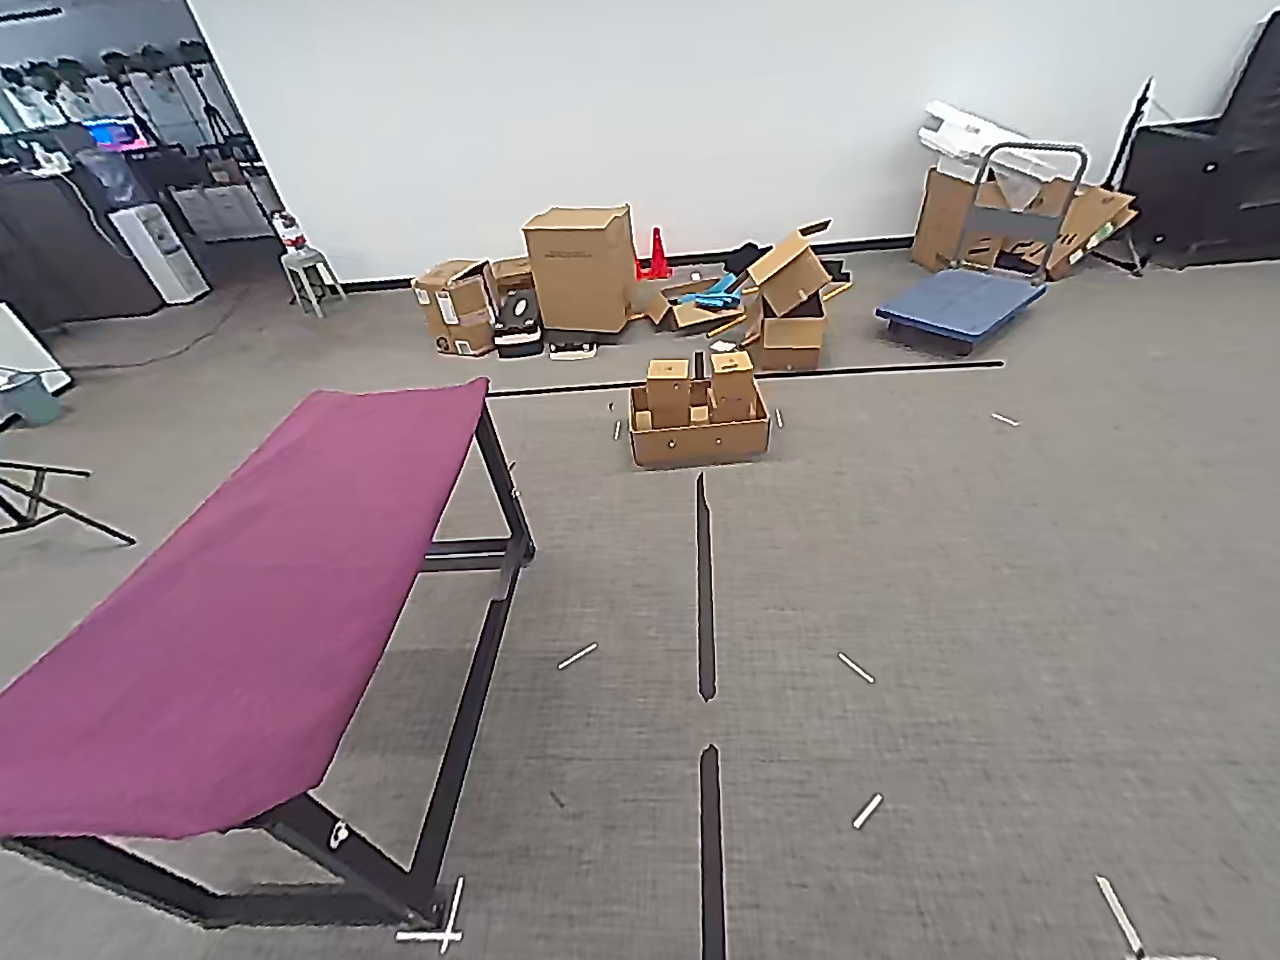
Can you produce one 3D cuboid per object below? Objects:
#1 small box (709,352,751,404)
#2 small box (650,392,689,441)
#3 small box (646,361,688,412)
[{"bbox_3d":[0.402,-0.451,2.417,0.168,0.176,0.179,-6,38,3],"label":"small box"},{"bbox_3d":[0.143,-0.301,2.541,0.168,0.176,0.179,2,40,10],"label":"small box"},{"bbox_3d":[0.124,-0.417,2.423,0.179,0.176,0.168,1,39,8],"label":"small box"}]
